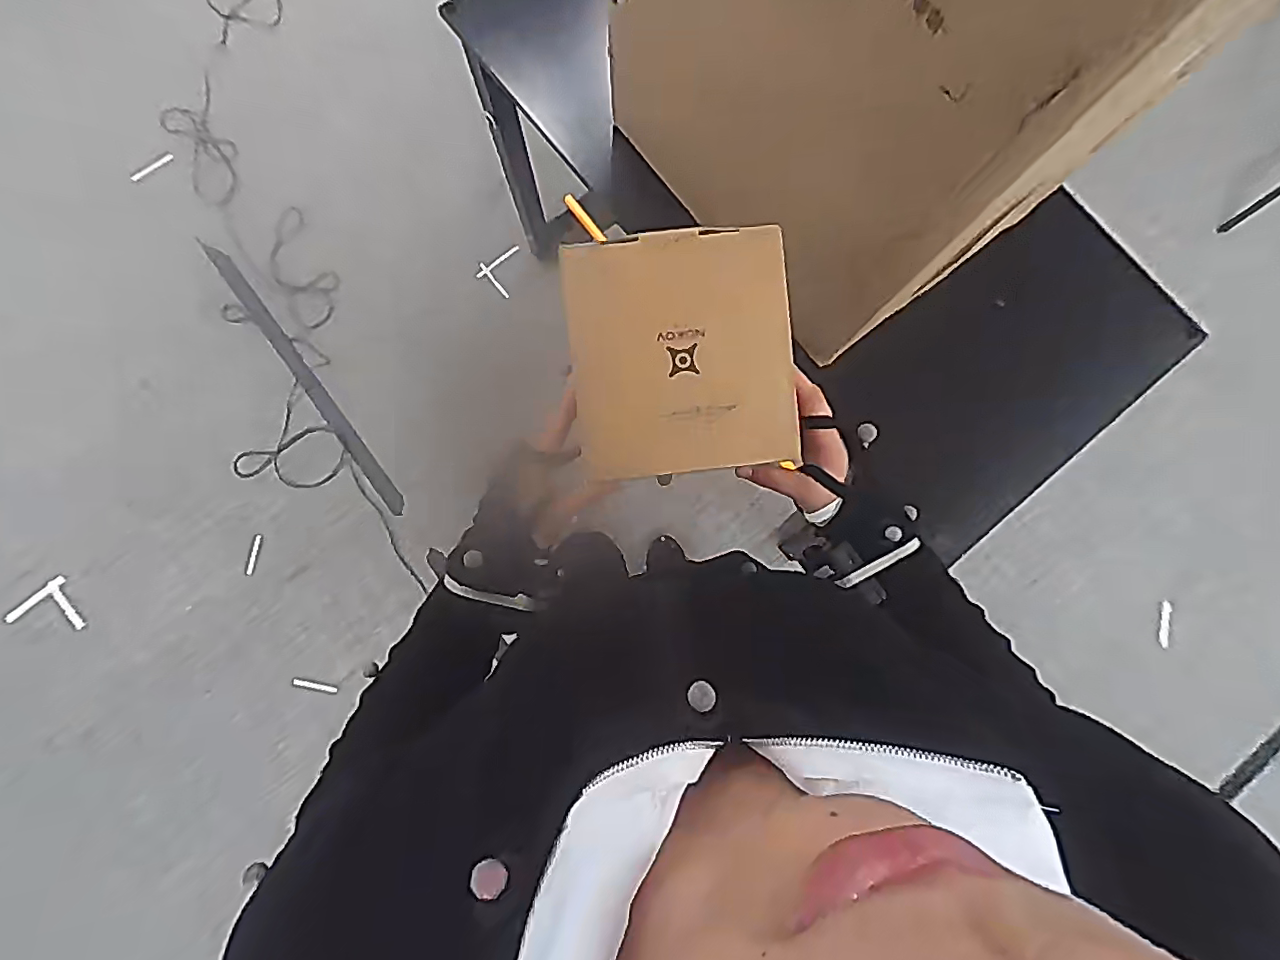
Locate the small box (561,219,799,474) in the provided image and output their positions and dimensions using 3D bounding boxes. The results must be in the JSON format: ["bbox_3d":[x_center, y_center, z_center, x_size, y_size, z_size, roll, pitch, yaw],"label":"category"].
[{"bbox_3d":[0.026,-0.102,0.476,0.168,0.176,0.179,-6,94,-2],"label":"small box"}]
